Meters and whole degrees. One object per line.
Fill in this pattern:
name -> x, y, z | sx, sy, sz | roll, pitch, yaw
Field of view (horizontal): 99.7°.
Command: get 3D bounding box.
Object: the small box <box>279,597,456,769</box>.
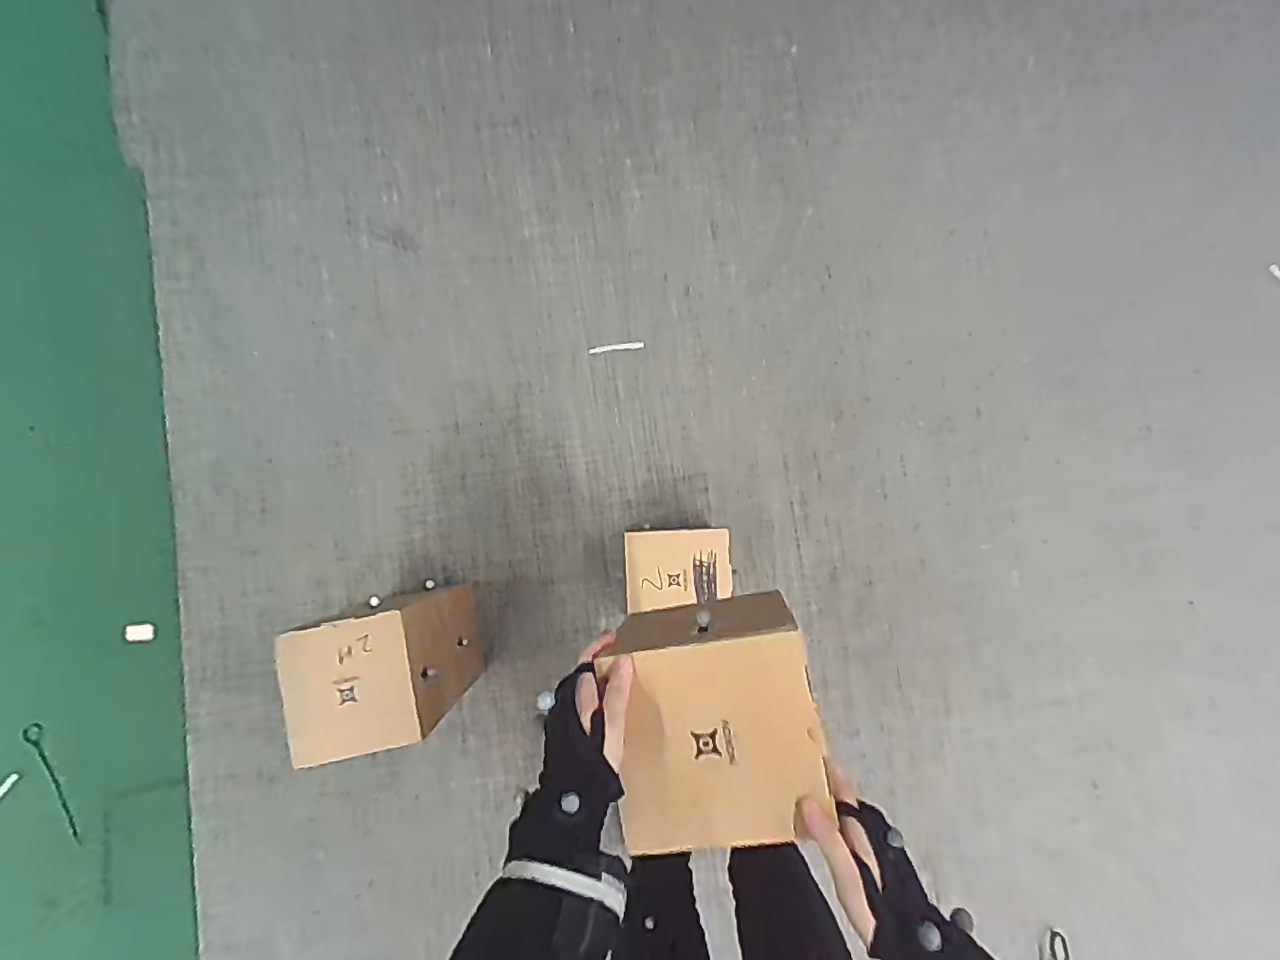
small box -> -0.381, 0.281, 0.785 | 0.168, 0.176, 0.179 | -11, 86, -3

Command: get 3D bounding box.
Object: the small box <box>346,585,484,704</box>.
small box -> -0.384, 0.291, 0.949 | 0.168, 0.176, 0.179 | -9, 85, -3

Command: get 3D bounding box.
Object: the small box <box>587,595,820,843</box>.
small box -> 0.062, 0.219, 0.534 | 0.179, 0.176, 0.168 | -11, 87, 8
